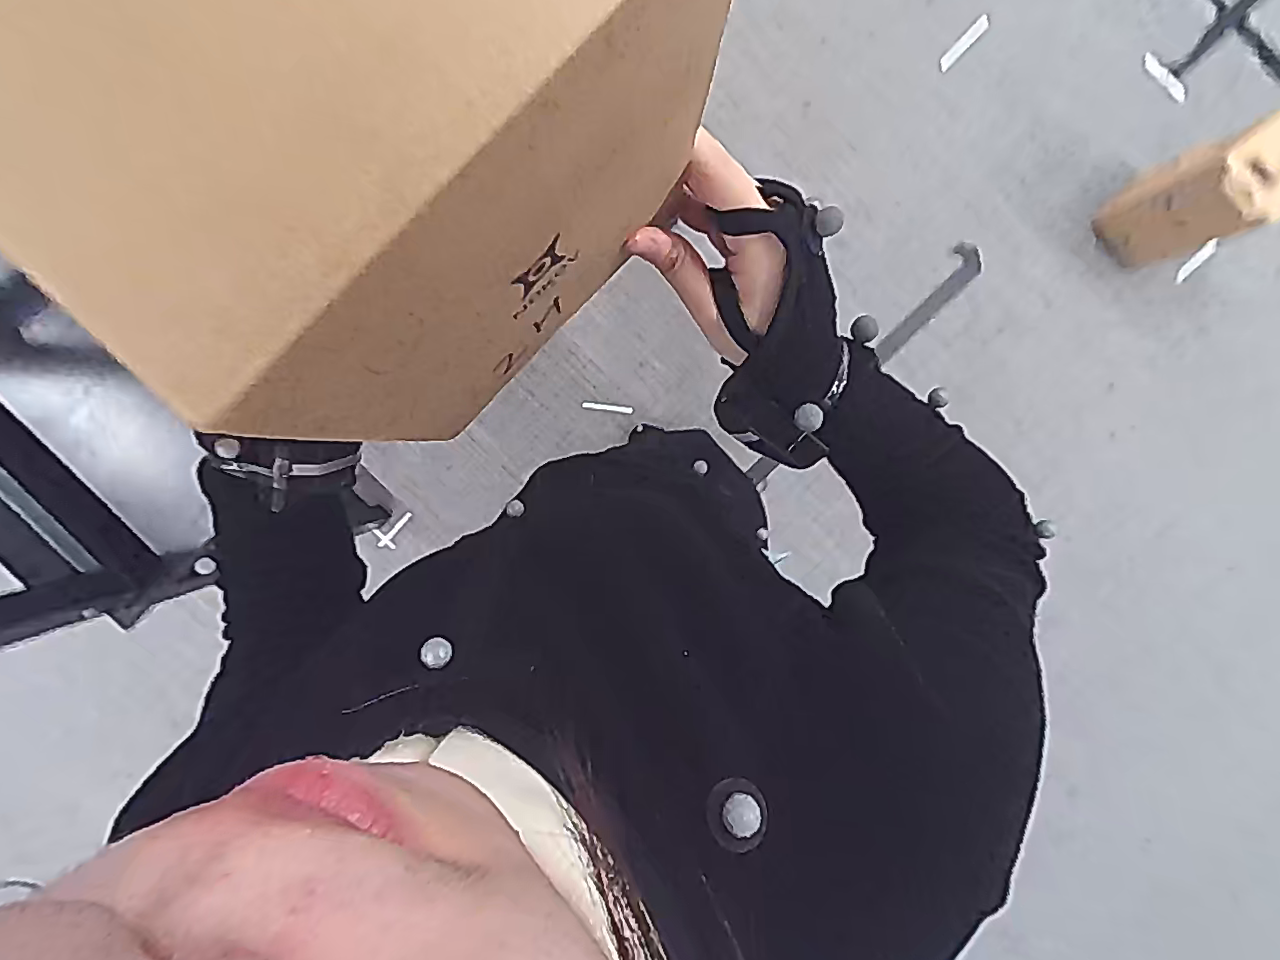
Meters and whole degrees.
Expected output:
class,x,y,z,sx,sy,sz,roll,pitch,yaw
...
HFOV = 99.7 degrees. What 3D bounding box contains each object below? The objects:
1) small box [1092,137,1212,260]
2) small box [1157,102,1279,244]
class,x,y,z,sx,sy,sz,roll,pitch,yaw
small box,1.242,-0.647,1.275,0.168,0.176,0.179,-44,93,6
small box,1.233,-0.624,1.112,0.179,0.176,0.168,-39,93,5
